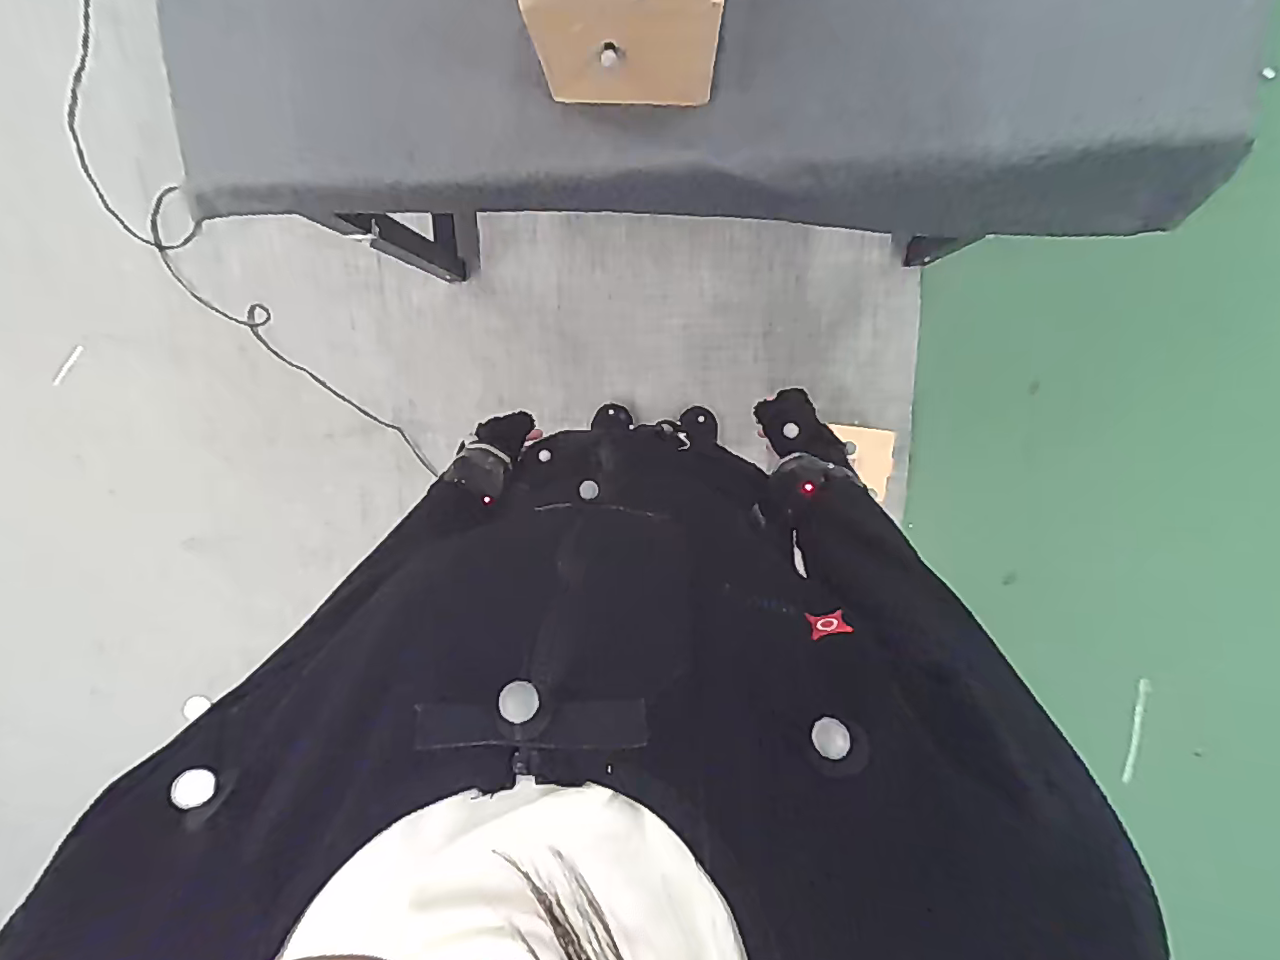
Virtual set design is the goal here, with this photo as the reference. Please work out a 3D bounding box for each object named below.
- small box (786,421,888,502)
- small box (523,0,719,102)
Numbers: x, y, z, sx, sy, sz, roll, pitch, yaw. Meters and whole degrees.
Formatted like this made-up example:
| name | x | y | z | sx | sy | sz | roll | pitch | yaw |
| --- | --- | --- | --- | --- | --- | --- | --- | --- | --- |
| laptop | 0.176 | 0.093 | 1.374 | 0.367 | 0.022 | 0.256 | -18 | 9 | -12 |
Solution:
| name | x | y | z | sx | sy | sz | roll | pitch | yaw |
| --- | --- | --- | --- | --- | --- | --- | --- | --- | --- |
| small box | 0.472 | -0.052 | 1.321 | 0.179 | 0.176 | 0.168 | 7 | 99 | 2 |
| small box | -0.011 | -0.495 | 0.520 | 0.179 | 0.176 | 0.168 | 3 | 100 | 2 |
